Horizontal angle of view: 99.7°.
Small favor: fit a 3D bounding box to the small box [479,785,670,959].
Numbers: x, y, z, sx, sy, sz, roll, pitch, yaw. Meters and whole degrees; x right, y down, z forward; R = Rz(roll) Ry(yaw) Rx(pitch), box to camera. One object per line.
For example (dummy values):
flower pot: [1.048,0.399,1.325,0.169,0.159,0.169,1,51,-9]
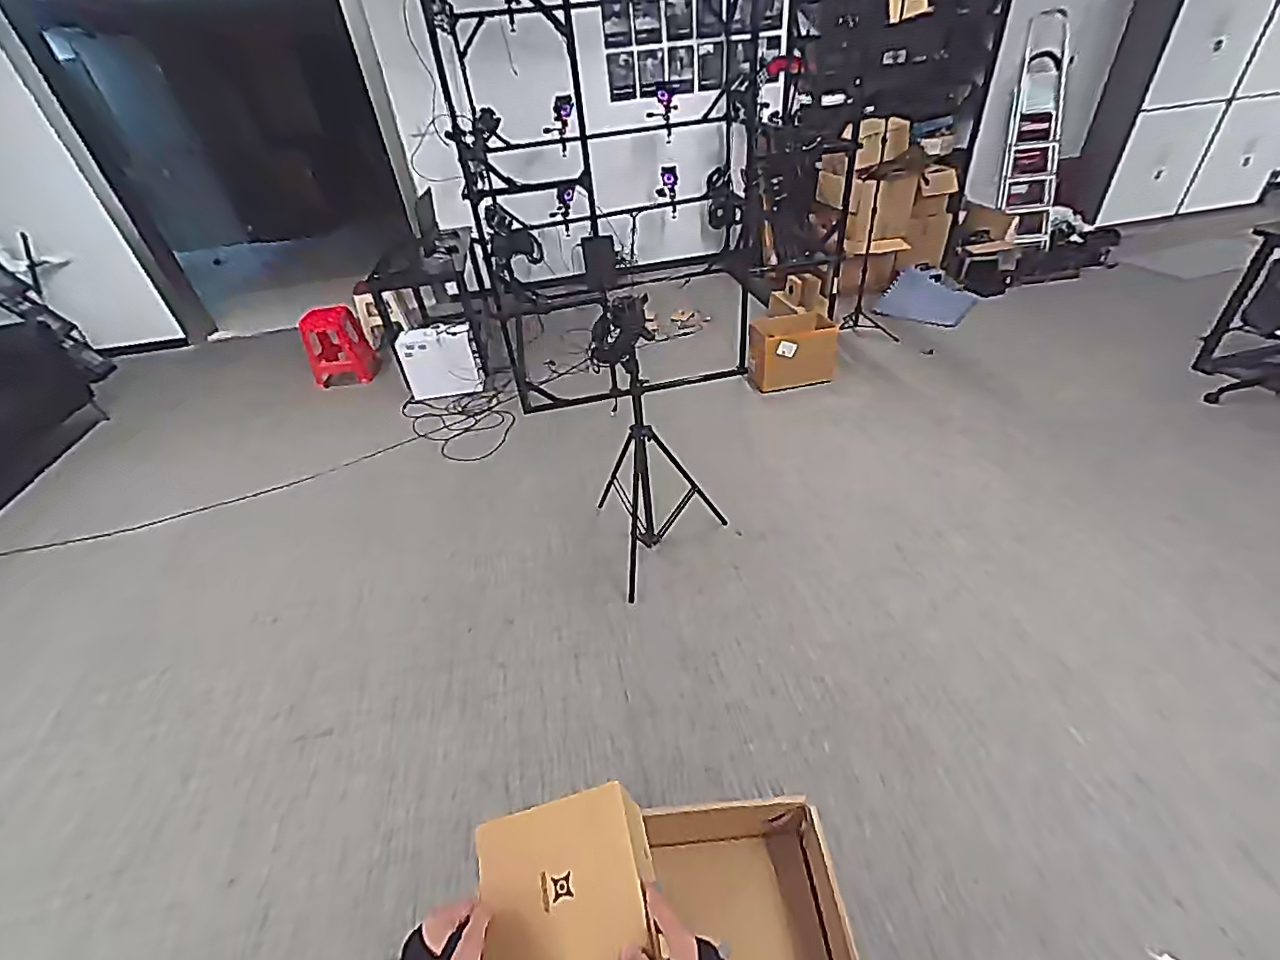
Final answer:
small box: [-0.070,0.483,0.630,0.179,0.176,0.168,-18,49,-2]
